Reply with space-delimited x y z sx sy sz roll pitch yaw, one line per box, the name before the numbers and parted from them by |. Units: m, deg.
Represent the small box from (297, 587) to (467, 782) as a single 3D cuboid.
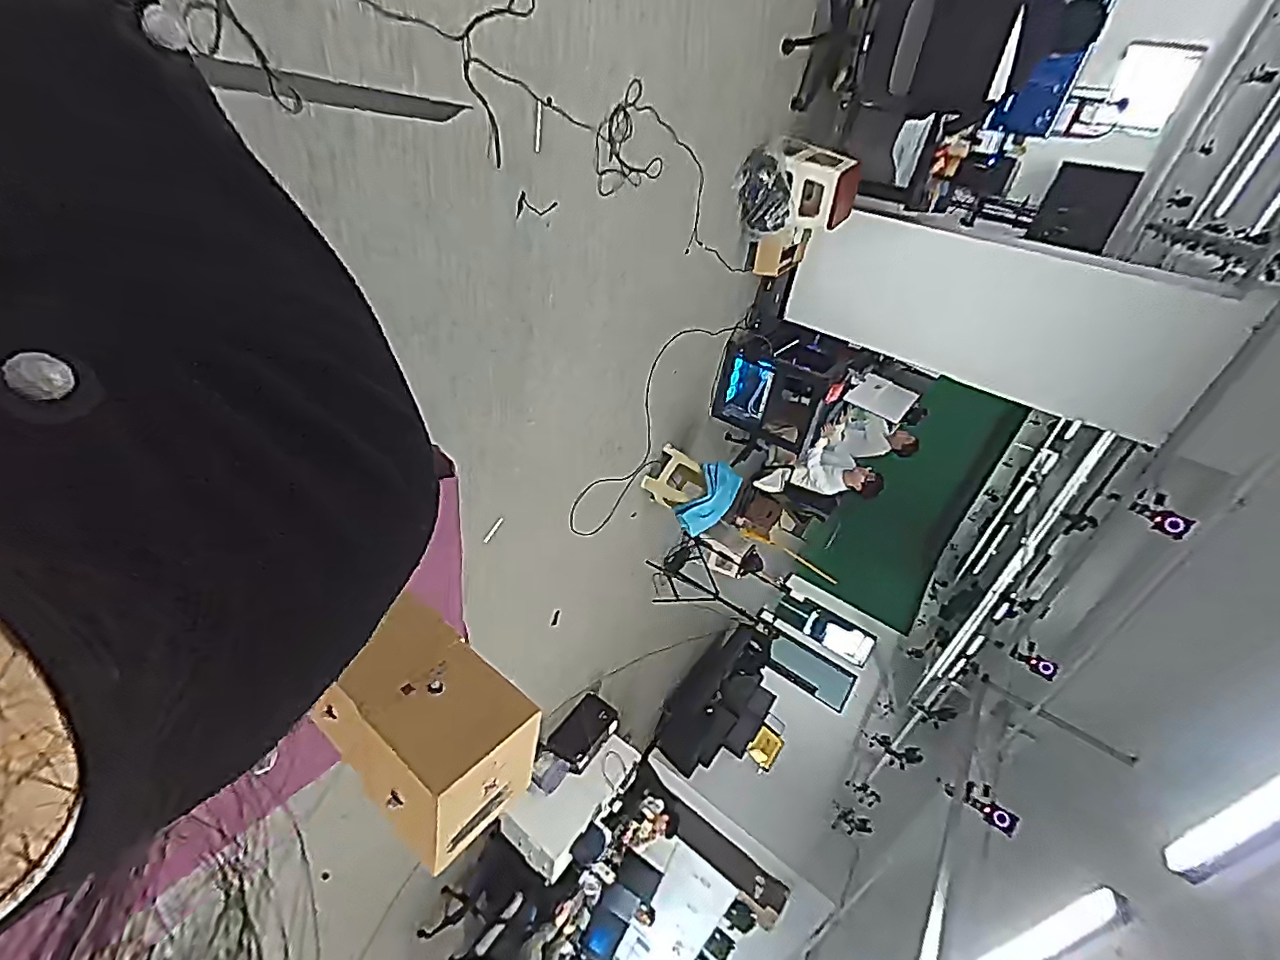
small box | -0.383 0.296 0.813 0.168 0.176 0.179 -29 139 -49
